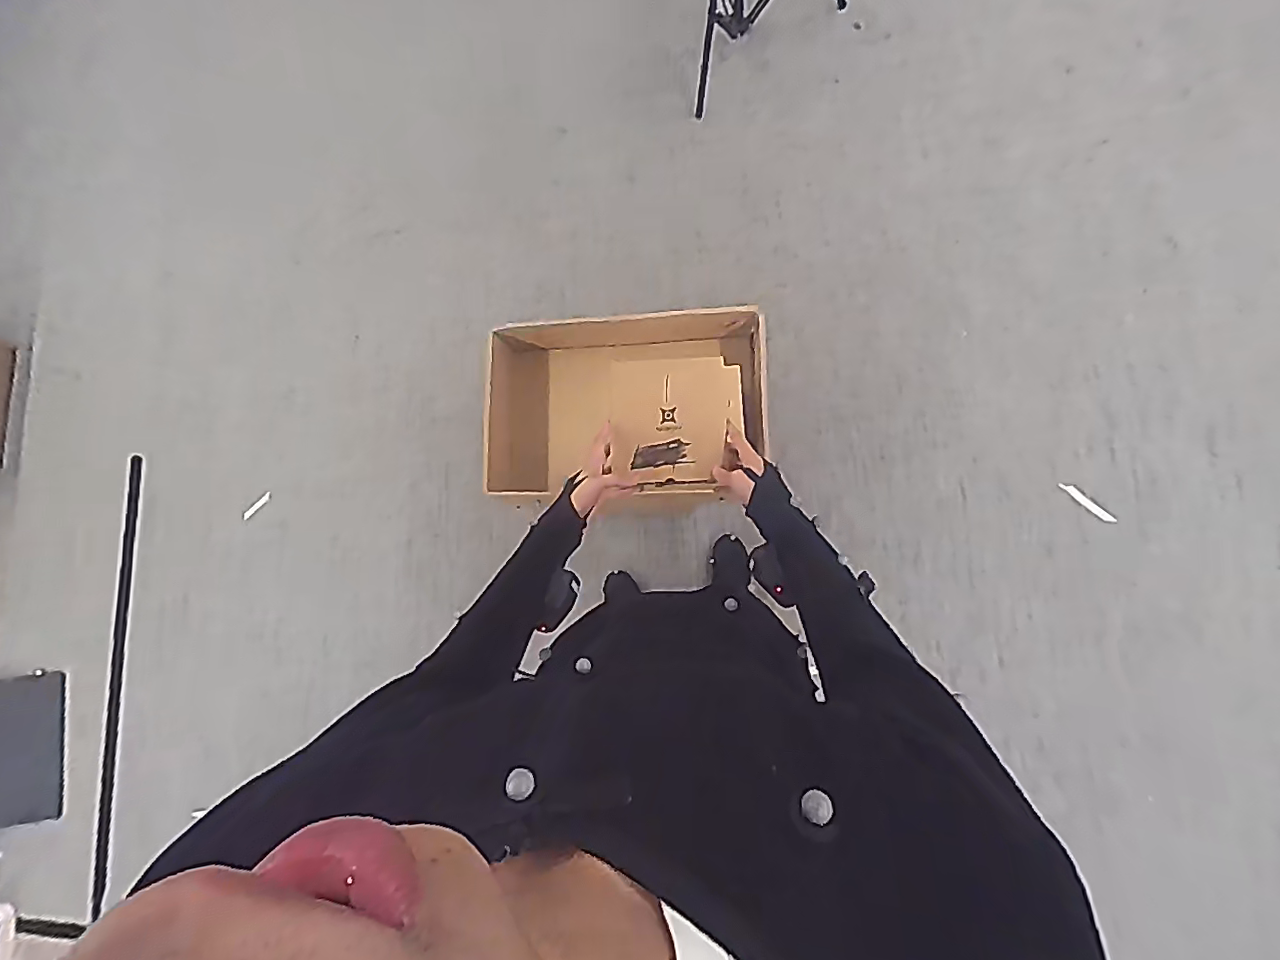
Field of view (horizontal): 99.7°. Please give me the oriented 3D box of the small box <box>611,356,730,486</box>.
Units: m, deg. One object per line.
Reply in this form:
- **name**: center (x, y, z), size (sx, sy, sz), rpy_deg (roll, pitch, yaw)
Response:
- **small box**: center (0.048, -0.085, 0.834), size (0.168, 0.176, 0.179), rpy_deg (-3, 91, 3)
